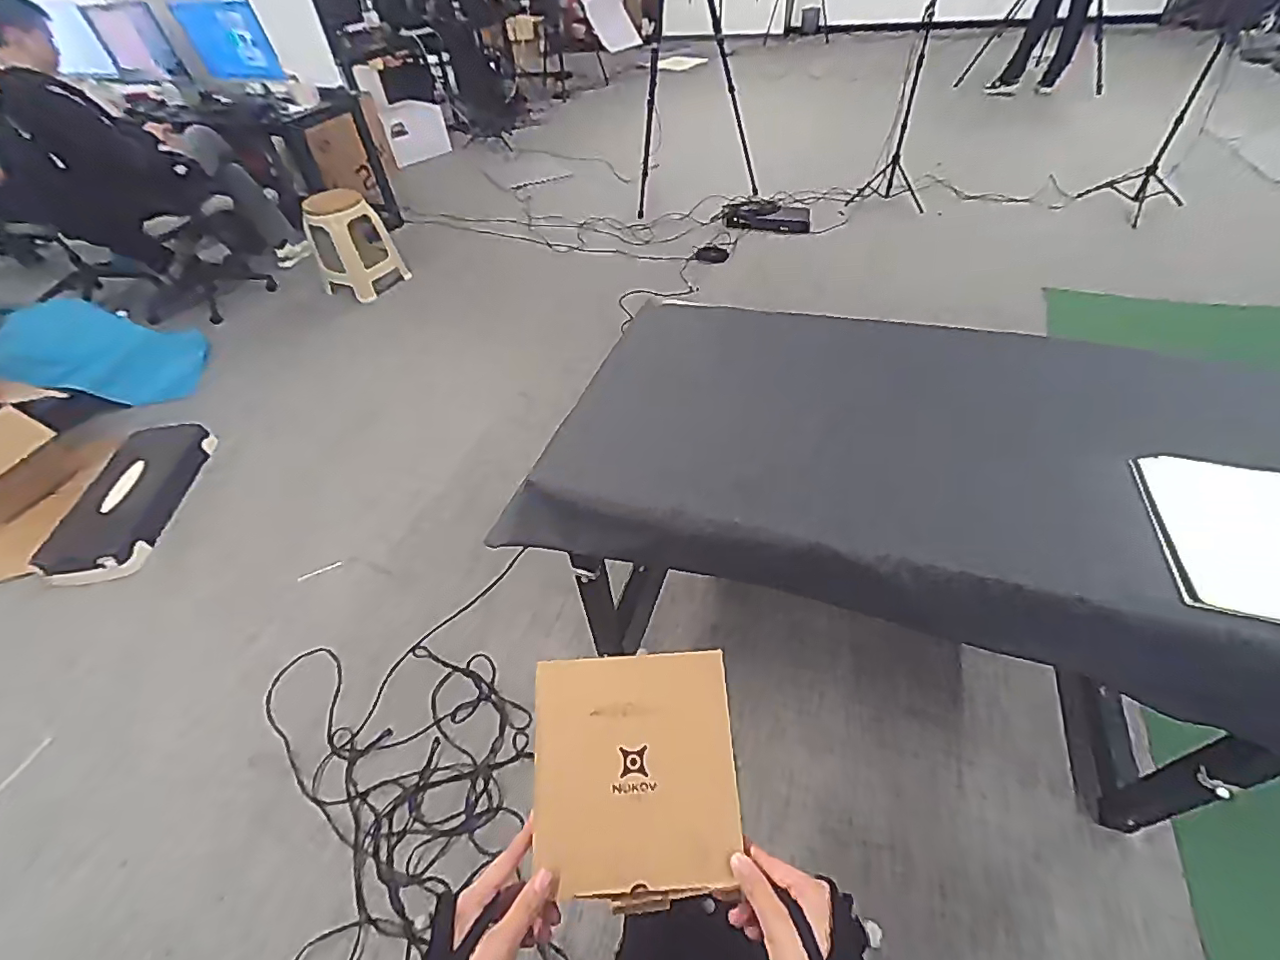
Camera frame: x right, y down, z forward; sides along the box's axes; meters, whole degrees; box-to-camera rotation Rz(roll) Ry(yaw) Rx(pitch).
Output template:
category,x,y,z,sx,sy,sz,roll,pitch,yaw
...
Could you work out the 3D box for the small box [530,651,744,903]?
category,x,y,z,sx,sy,sz,roll,pitch,yaw
small box,-0.005,0.264,0.511,0.168,0.176,0.179,-3,66,-1
